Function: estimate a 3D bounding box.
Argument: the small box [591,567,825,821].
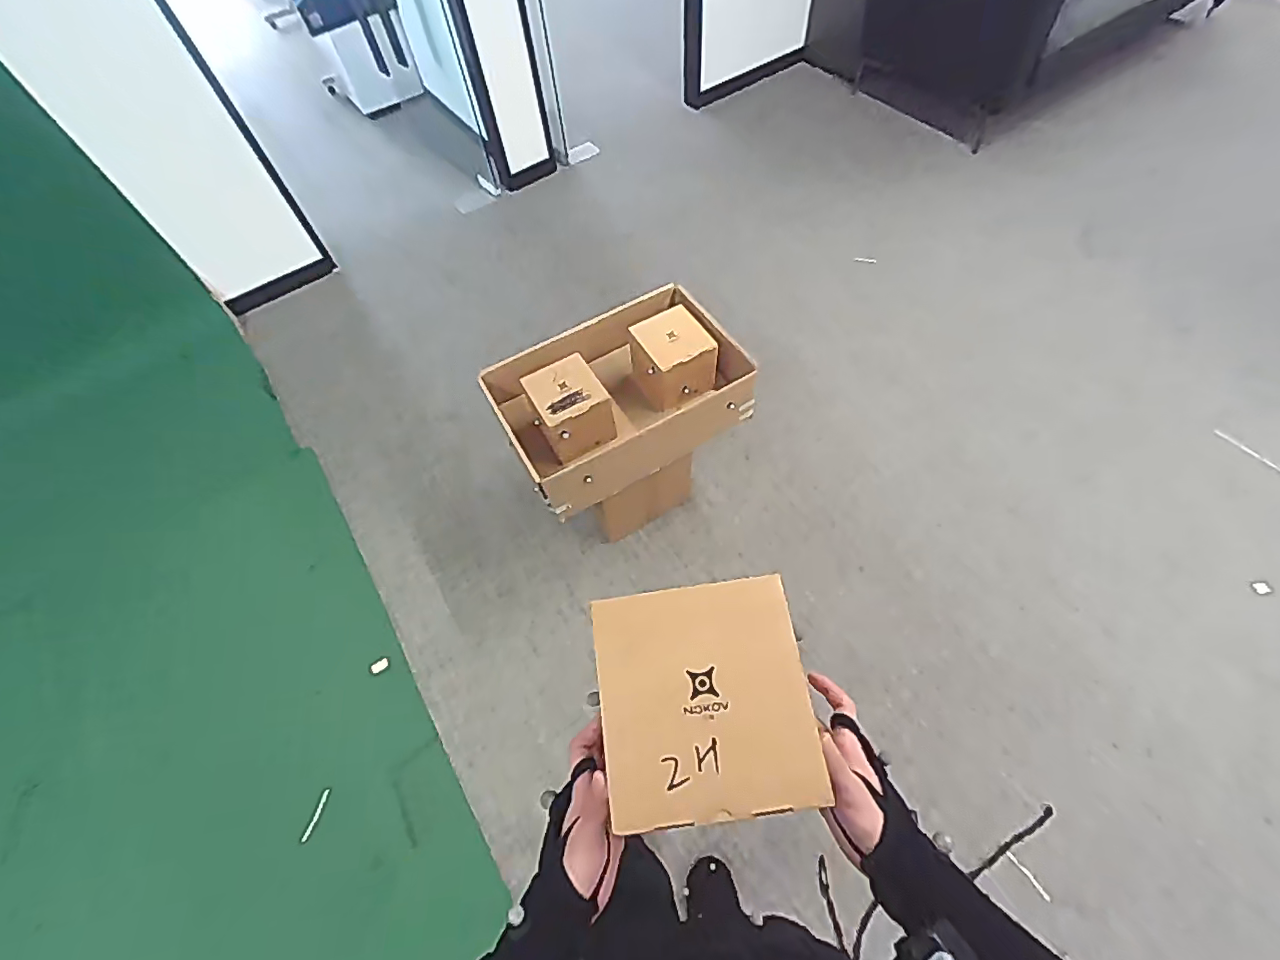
[{"bbox_3d":[0.051,0.195,0.501,0.168,0.176,0.179,-8,66,2],"label":"small box"}]

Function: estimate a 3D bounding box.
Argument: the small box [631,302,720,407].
[{"bbox_3d":[0.091,-0.328,1.431,0.168,0.176,0.179,-28,62,-12],"label":"small box"}]
